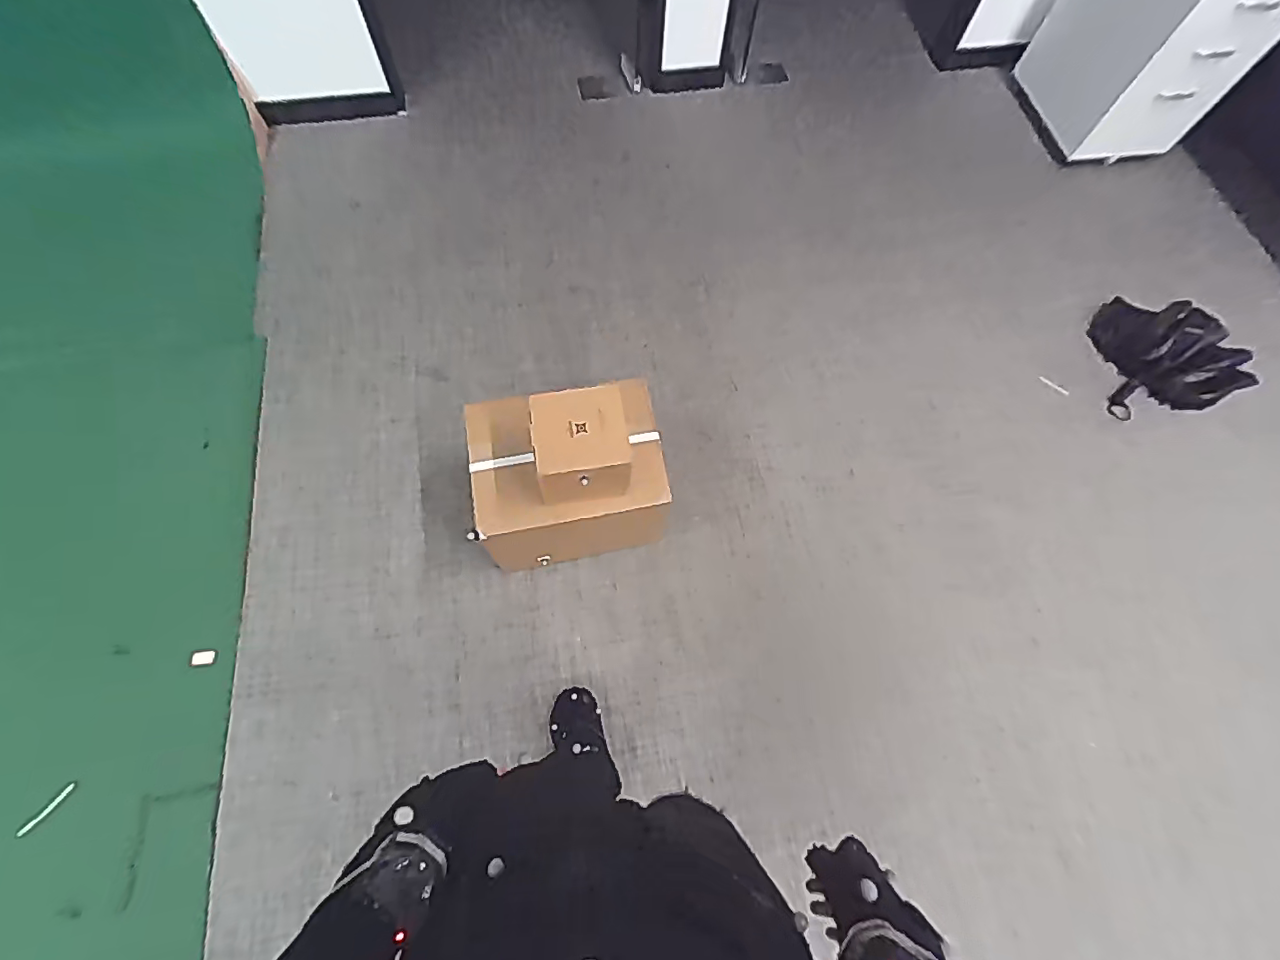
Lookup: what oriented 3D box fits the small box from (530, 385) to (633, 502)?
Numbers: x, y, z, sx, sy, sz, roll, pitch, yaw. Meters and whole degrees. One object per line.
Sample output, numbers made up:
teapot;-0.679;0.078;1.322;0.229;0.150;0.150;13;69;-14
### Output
small box;-0.112;-0.066;1.066;0.179;0.176;0.168;-8;70;-7
